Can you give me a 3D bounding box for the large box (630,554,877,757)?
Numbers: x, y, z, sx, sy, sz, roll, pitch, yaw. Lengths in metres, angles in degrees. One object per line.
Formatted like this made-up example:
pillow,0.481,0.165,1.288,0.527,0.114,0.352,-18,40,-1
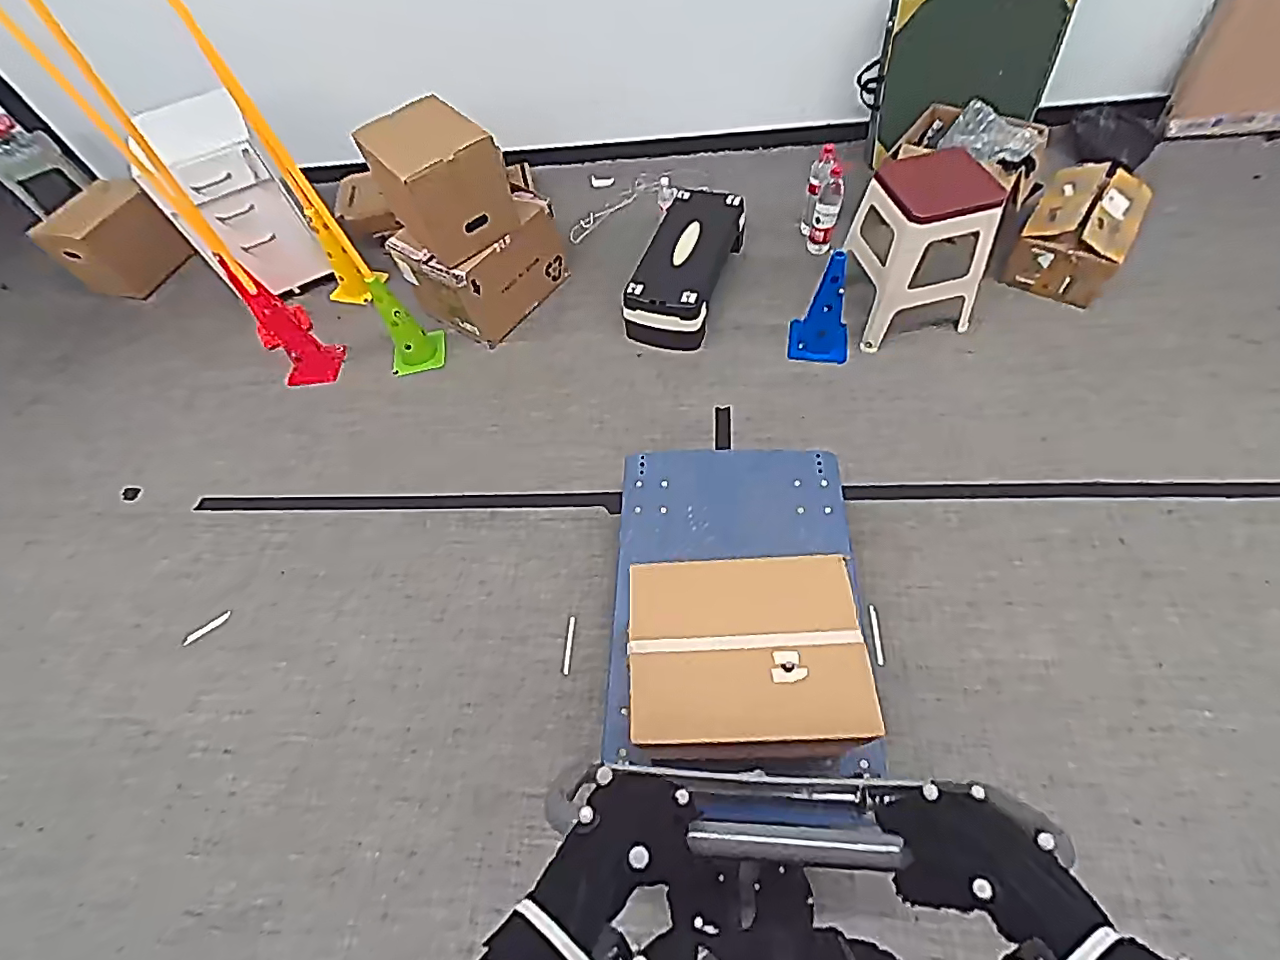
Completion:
large box,0.193,0.364,1.089,0.408,0.320,0.320,-4,59,3
